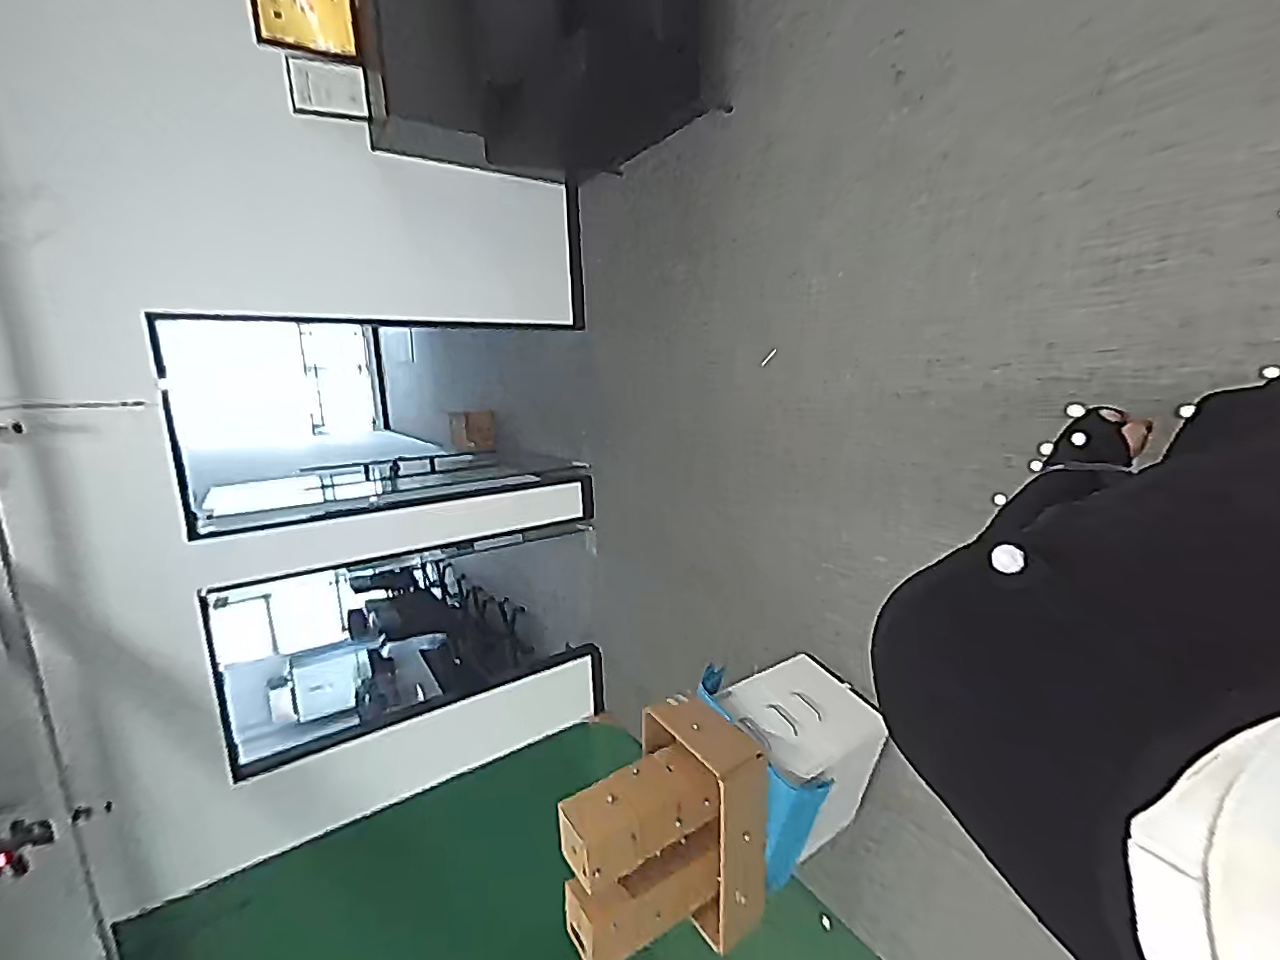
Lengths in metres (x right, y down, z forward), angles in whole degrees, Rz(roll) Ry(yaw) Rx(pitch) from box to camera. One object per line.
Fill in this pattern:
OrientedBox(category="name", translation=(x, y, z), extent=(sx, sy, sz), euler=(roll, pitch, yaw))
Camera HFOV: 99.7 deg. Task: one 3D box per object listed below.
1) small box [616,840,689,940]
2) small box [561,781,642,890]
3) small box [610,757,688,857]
OrientedBox(category="small box", translation=(0.040, 1.237, 1.663), extent=(0.168, 0.176, 0.179), euler=(13, 107, 55))
OrientedBox(category="small box", translation=(-0.108, 0.993, 1.533), extent=(0.179, 0.176, 0.168), euler=(14, 111, 57))
OrientedBox(category="small box", translation=(0.027, 0.965, 1.619), extent=(0.179, 0.176, 0.168), euler=(14, 111, 56))
